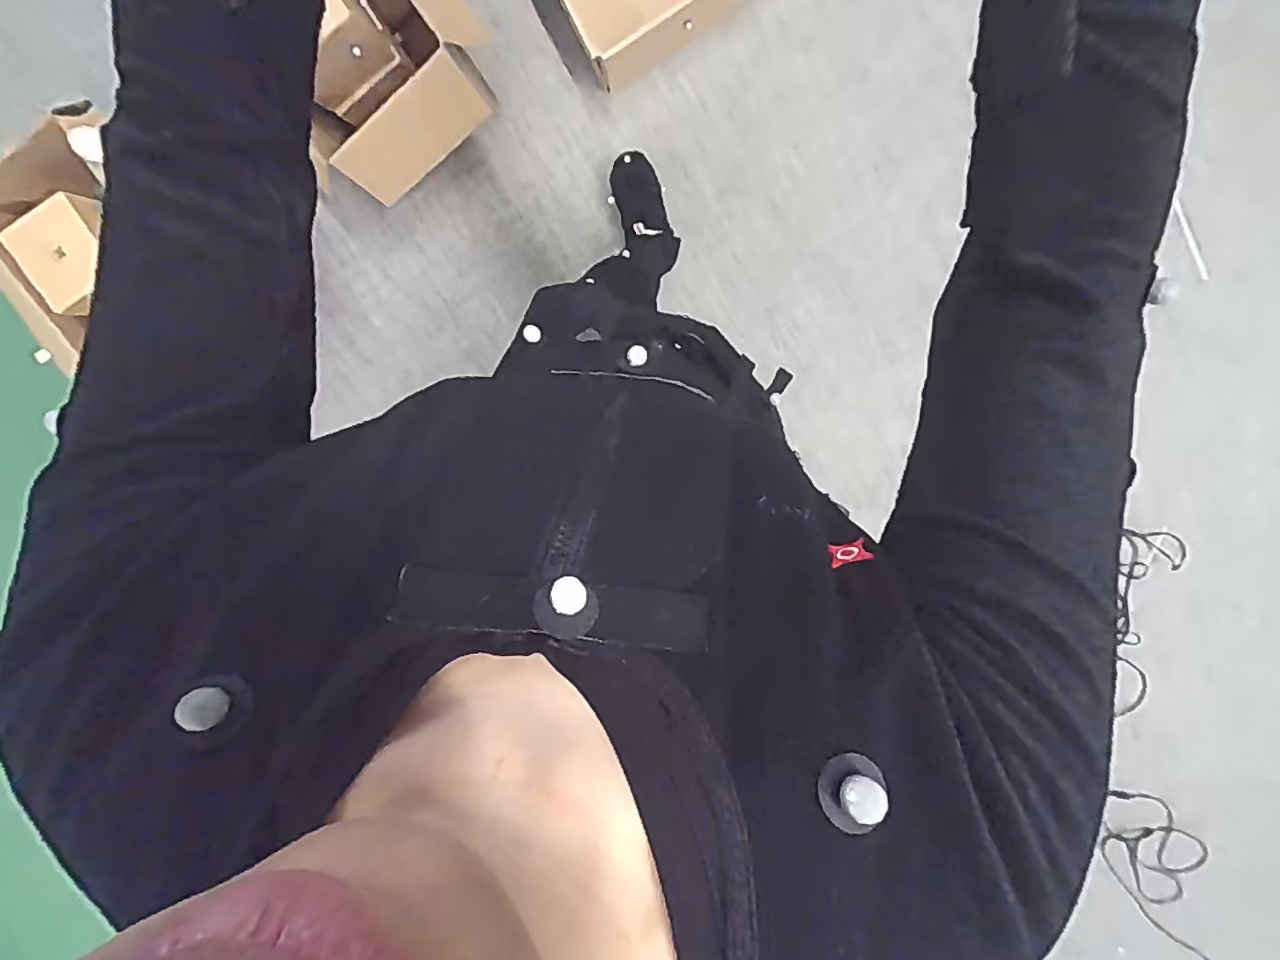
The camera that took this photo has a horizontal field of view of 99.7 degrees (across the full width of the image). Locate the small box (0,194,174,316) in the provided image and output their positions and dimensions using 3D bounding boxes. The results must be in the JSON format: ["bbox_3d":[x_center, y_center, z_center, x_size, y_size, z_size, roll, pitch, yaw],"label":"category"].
[{"bbox_3d":[-1.127,-0.454,1.119,0.179,0.176,0.168,-26,103,9],"label":"small box"}]
